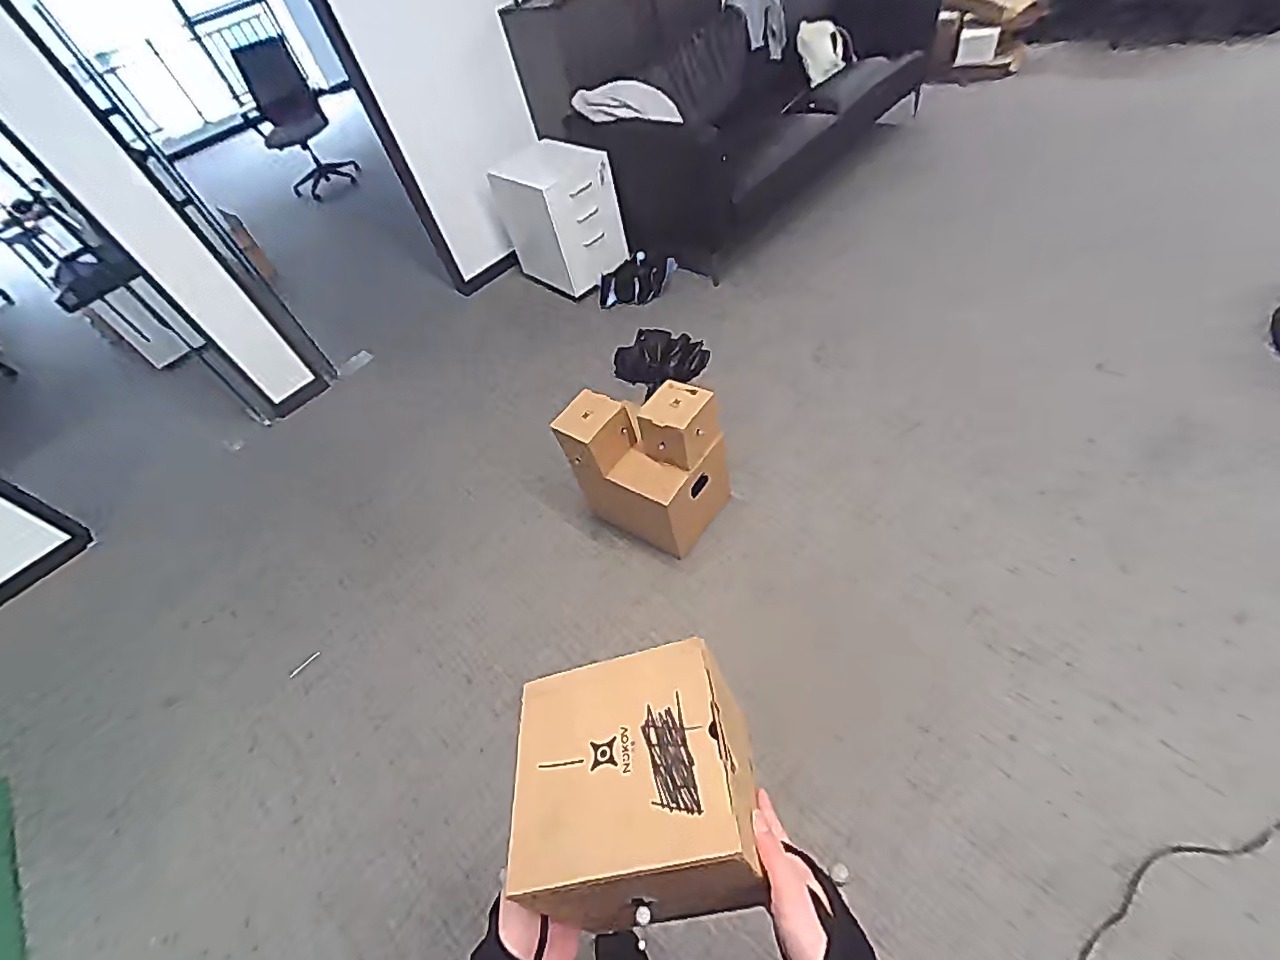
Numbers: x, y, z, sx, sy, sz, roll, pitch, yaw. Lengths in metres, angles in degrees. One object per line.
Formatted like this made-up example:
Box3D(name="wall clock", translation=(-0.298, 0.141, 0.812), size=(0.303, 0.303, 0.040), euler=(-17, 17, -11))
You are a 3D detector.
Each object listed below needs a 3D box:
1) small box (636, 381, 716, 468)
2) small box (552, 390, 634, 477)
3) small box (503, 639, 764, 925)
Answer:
Box3D(name="small box", translation=(0.117, -0.164, 1.624), size=(0.168, 0.176, 0.179), euler=(22, 59, 29))
Box3D(name="small box", translation=(-0.136, -0.143, 1.678), size=(0.168, 0.176, 0.179), euler=(25, 65, 32))
Box3D(name="small box", translation=(0.004, 0.272, 0.483), size=(0.179, 0.176, 0.168), euler=(-17, 40, 10))
